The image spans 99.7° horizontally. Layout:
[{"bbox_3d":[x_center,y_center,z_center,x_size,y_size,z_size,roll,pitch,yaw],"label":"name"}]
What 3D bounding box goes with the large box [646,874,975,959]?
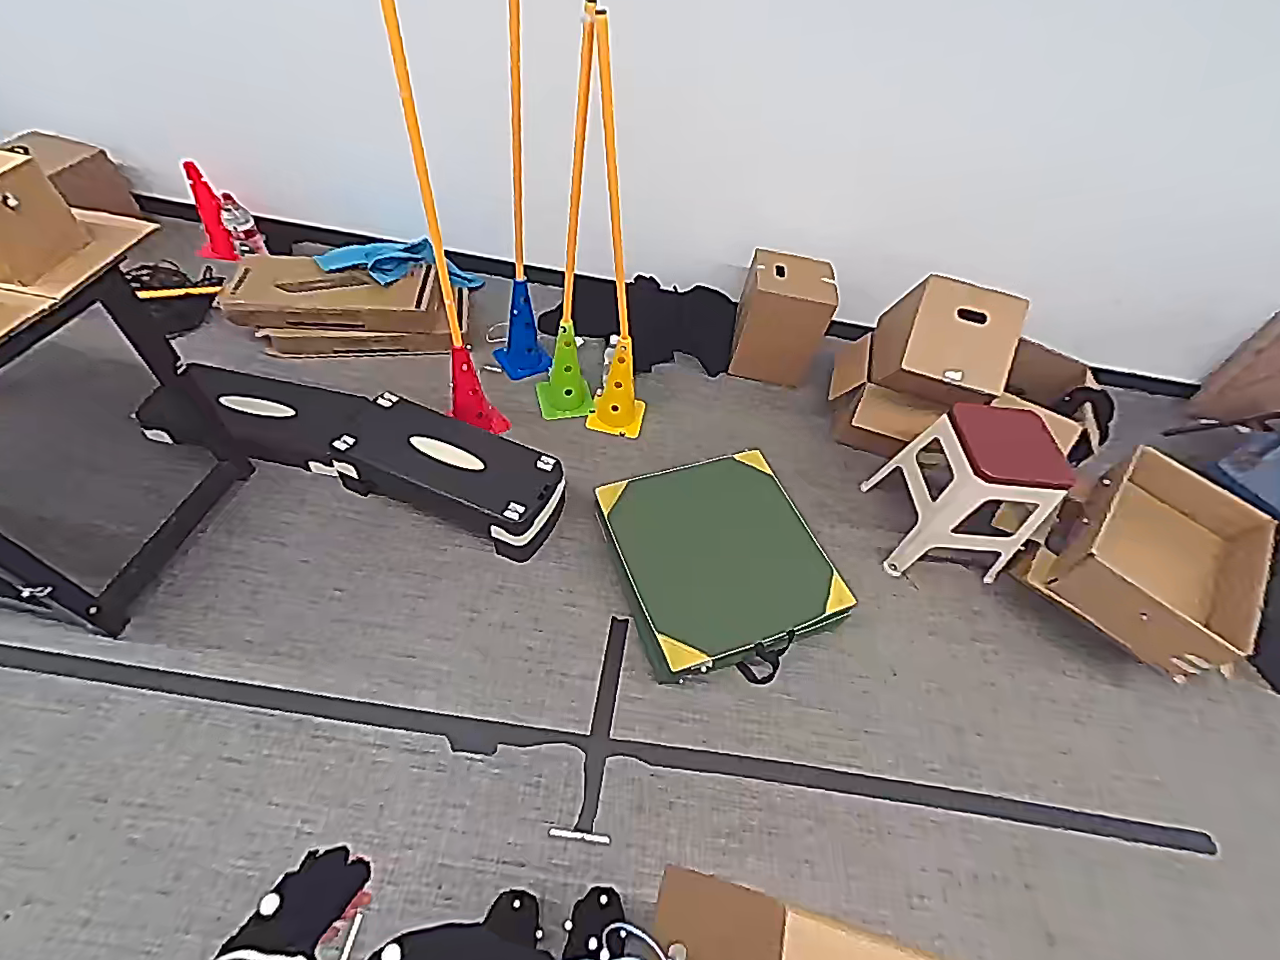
[{"bbox_3d":[0.202,0.750,0.699,0.320,0.408,0.320,21,56,-5],"label":"large box"}]
